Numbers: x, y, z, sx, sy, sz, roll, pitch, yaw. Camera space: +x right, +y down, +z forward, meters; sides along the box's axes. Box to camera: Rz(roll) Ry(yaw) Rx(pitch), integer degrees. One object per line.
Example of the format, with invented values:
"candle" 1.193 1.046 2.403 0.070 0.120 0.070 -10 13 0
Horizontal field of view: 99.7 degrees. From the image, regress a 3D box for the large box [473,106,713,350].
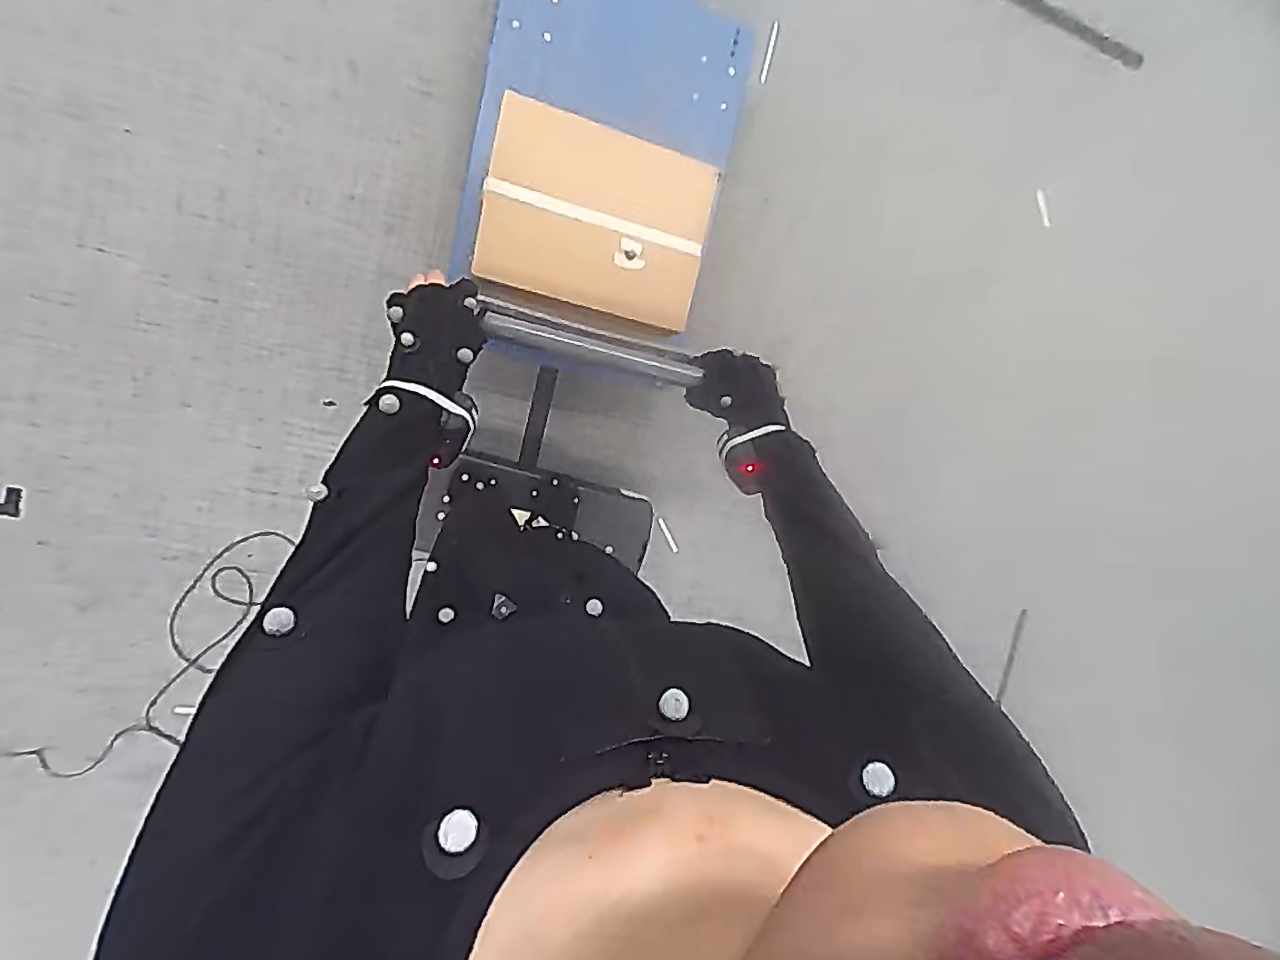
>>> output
"large box" -0.116 -0.479 1.126 0.408 0.320 0.320 11 96 -16
